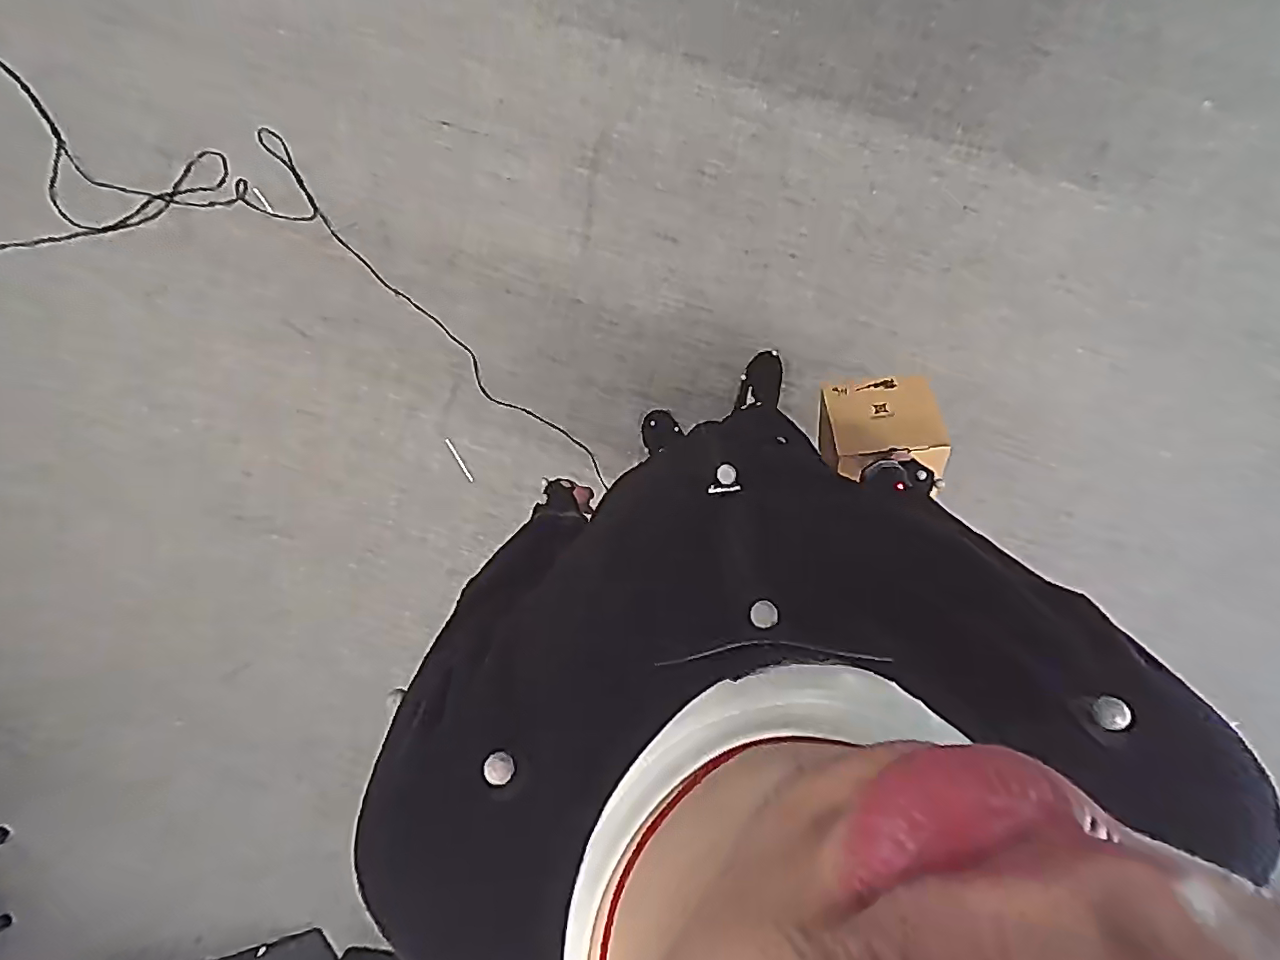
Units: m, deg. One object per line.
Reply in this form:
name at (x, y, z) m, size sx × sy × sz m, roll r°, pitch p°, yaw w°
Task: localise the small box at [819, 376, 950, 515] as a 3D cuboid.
small box at (0.415, -0.052, 0.948) m, size 0.168 × 0.179 × 0.176 m, roll -8°, pitch 139°, yaw 10°
